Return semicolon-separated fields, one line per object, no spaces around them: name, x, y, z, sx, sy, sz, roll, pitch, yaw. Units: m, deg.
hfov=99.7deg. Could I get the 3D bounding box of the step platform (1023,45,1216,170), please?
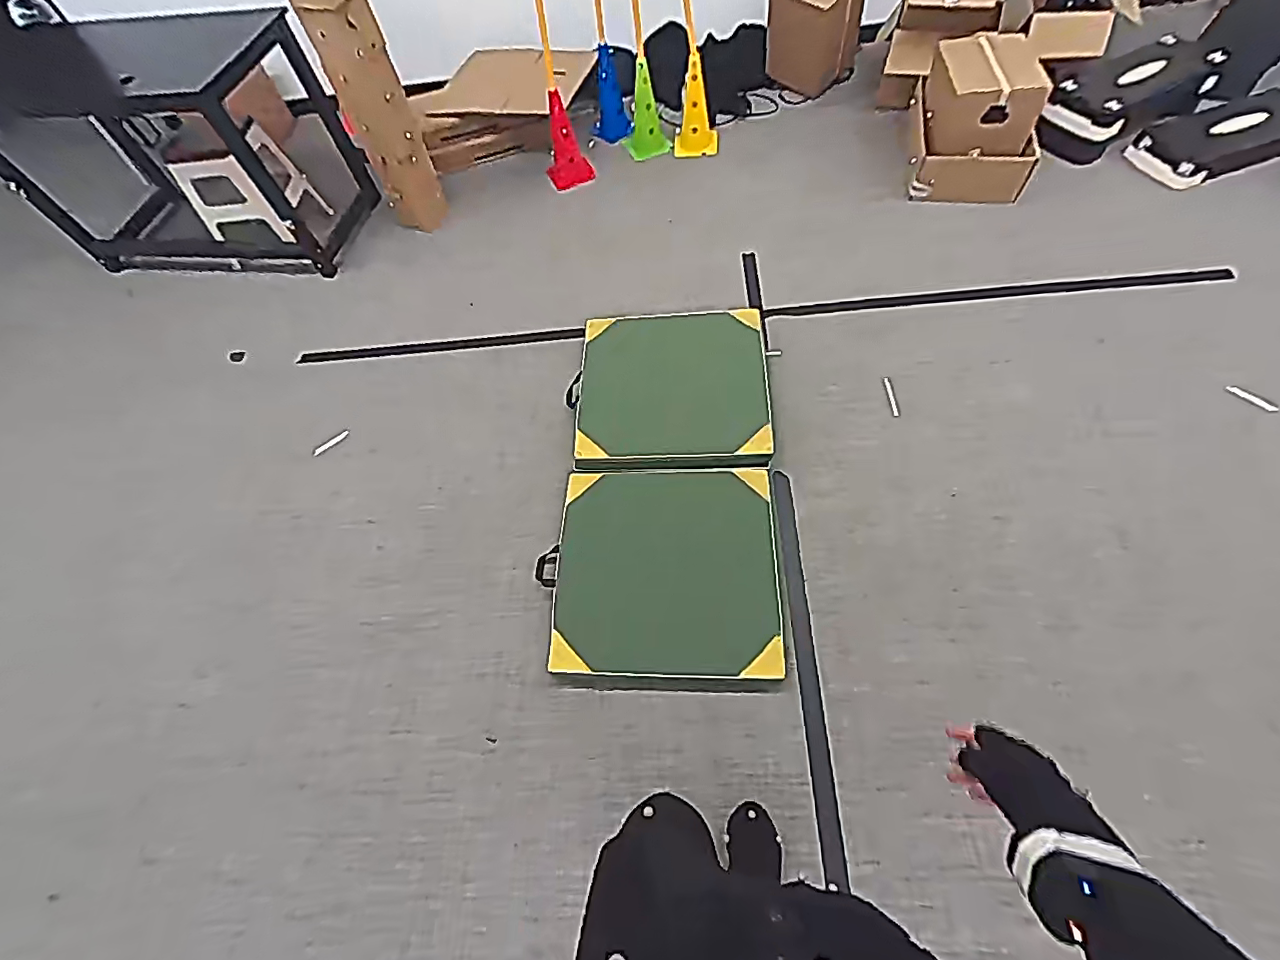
step platform;1.972;-1.545;2.232;0.684;0.204;0.286;-28;61;-9
